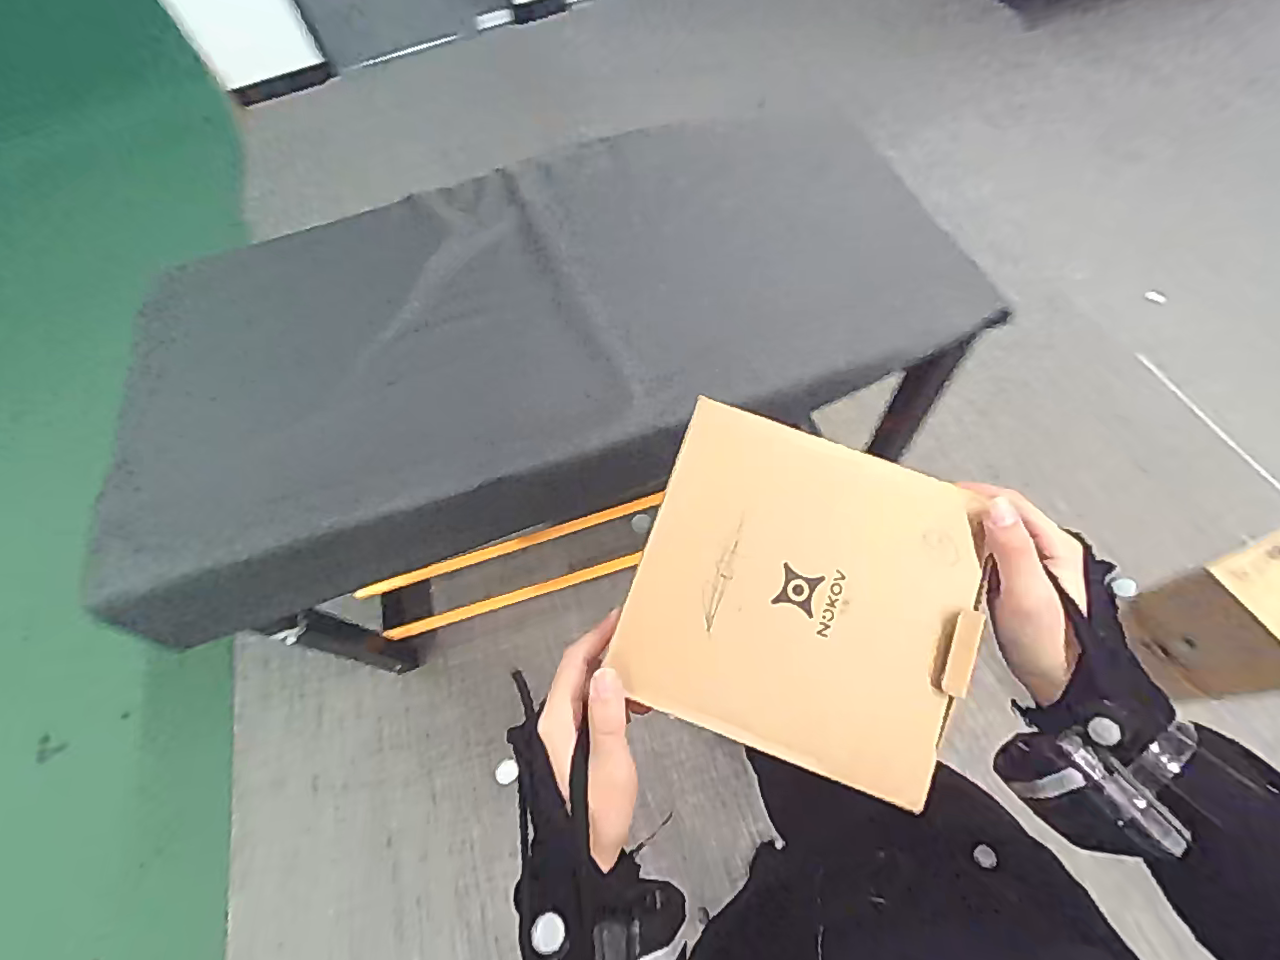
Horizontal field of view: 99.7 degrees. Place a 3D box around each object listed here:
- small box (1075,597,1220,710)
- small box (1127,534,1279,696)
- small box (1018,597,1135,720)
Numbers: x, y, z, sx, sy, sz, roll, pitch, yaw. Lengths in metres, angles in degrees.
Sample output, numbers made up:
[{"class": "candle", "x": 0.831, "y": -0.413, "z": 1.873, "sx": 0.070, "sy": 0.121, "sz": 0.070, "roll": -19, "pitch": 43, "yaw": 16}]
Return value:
[{"class": "small box", "x": 0.909, "y": 0.279, "z": 0.933, "sx": 0.179, "sy": 0.176, "sz": 0.168, "roll": -22, "pitch": 62, "yaw": -6}, {"class": "small box", "x": 0.895, "y": 0.201, "z": 0.790, "sx": 0.168, "sy": 0.176, "sz": 0.179, "roll": -22, "pitch": 63, "yaw": -5}, {"class": "small box", "x": 0.914, "y": 0.359, "z": 1.077, "sx": 0.179, "sy": 0.176, "sz": 0.168, "roll": -24, "pitch": 61, "yaw": -5}]
